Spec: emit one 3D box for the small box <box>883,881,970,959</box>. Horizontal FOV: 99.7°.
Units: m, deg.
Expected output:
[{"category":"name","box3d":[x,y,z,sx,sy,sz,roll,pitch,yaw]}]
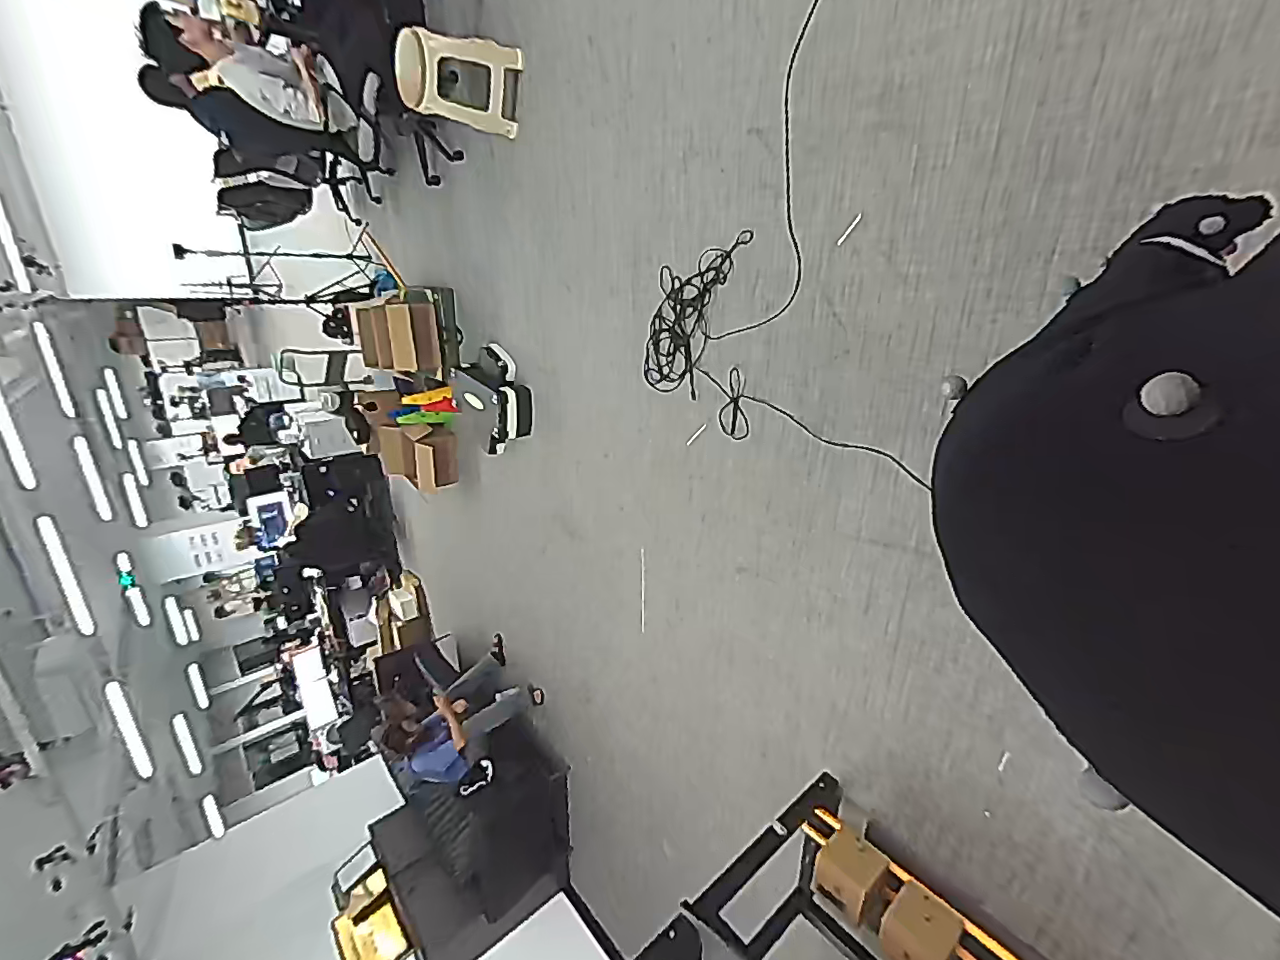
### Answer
[{"category":"small box","box3d":[0.849,1.352,1.599,0.168,0.176,0.179,21,118,46]}]
